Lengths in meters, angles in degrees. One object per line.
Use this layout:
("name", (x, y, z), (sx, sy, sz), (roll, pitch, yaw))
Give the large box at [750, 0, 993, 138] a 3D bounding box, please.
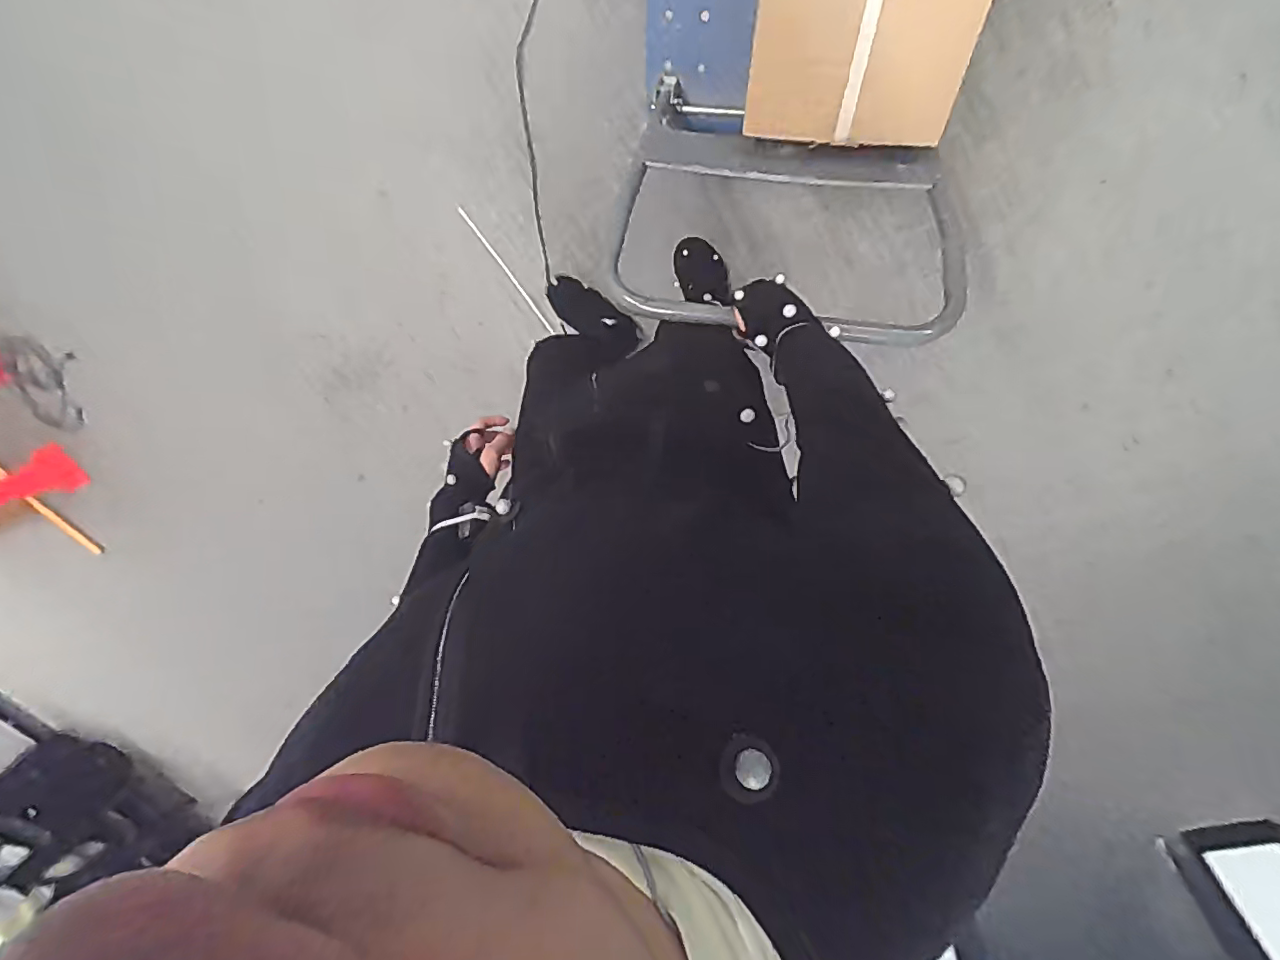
("large box", (0.358, -0.803, 0.832), (0.320, 0.320, 0.408), (7, 139, 7))
